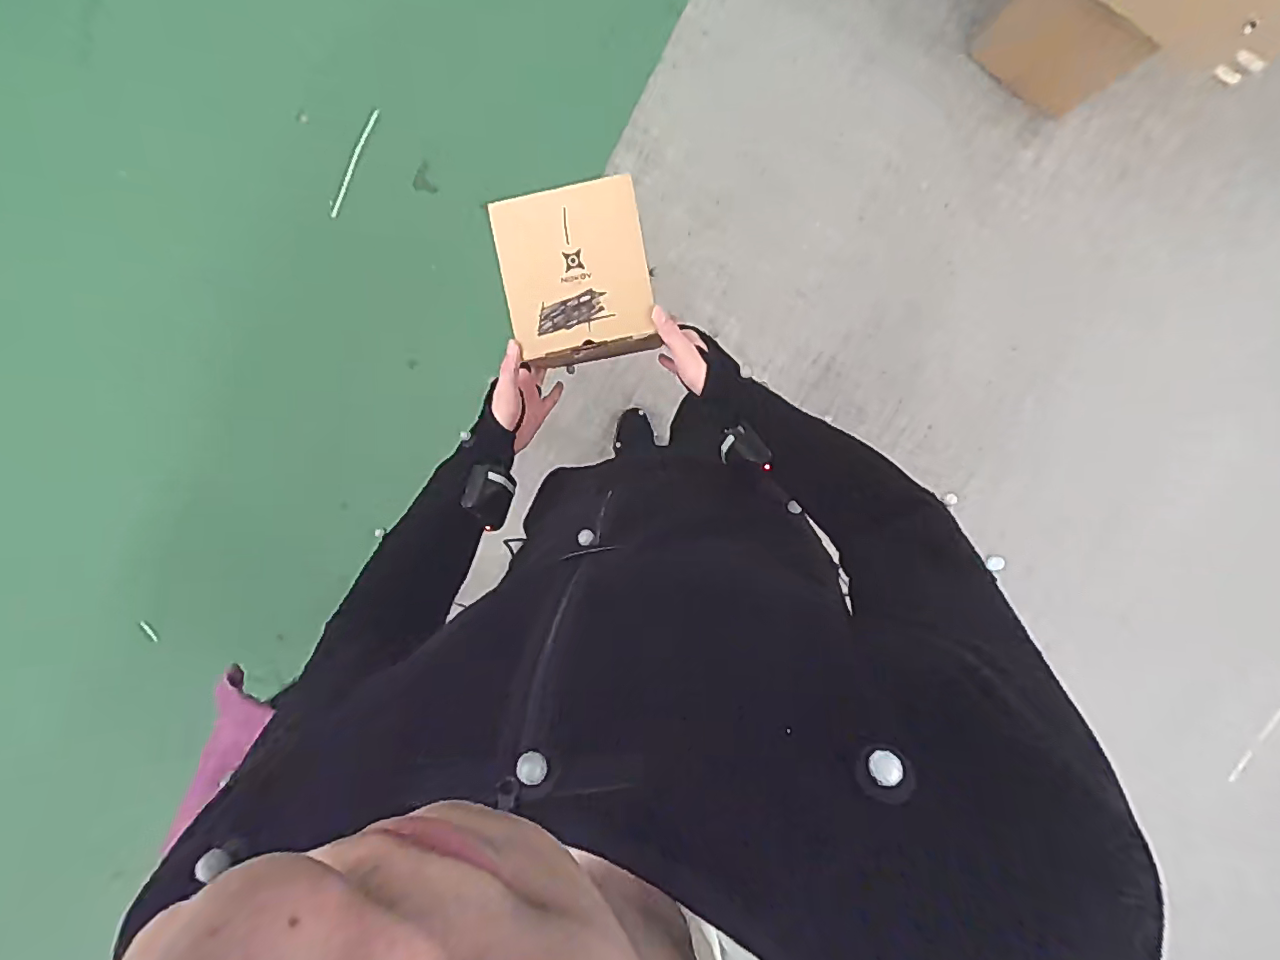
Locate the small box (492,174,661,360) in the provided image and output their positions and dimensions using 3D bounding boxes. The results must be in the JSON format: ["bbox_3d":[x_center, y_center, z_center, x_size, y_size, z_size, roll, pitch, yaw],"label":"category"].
[{"bbox_3d":[-0.068,-0.254,0.693,0.168,0.176,0.179,-9,97,6],"label":"small box"}]

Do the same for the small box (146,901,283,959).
[{"bbox_3d":[-0.808,0.921,0.998,0.168,0.176,0.179,26,98,-3],"label":"small box"}]
